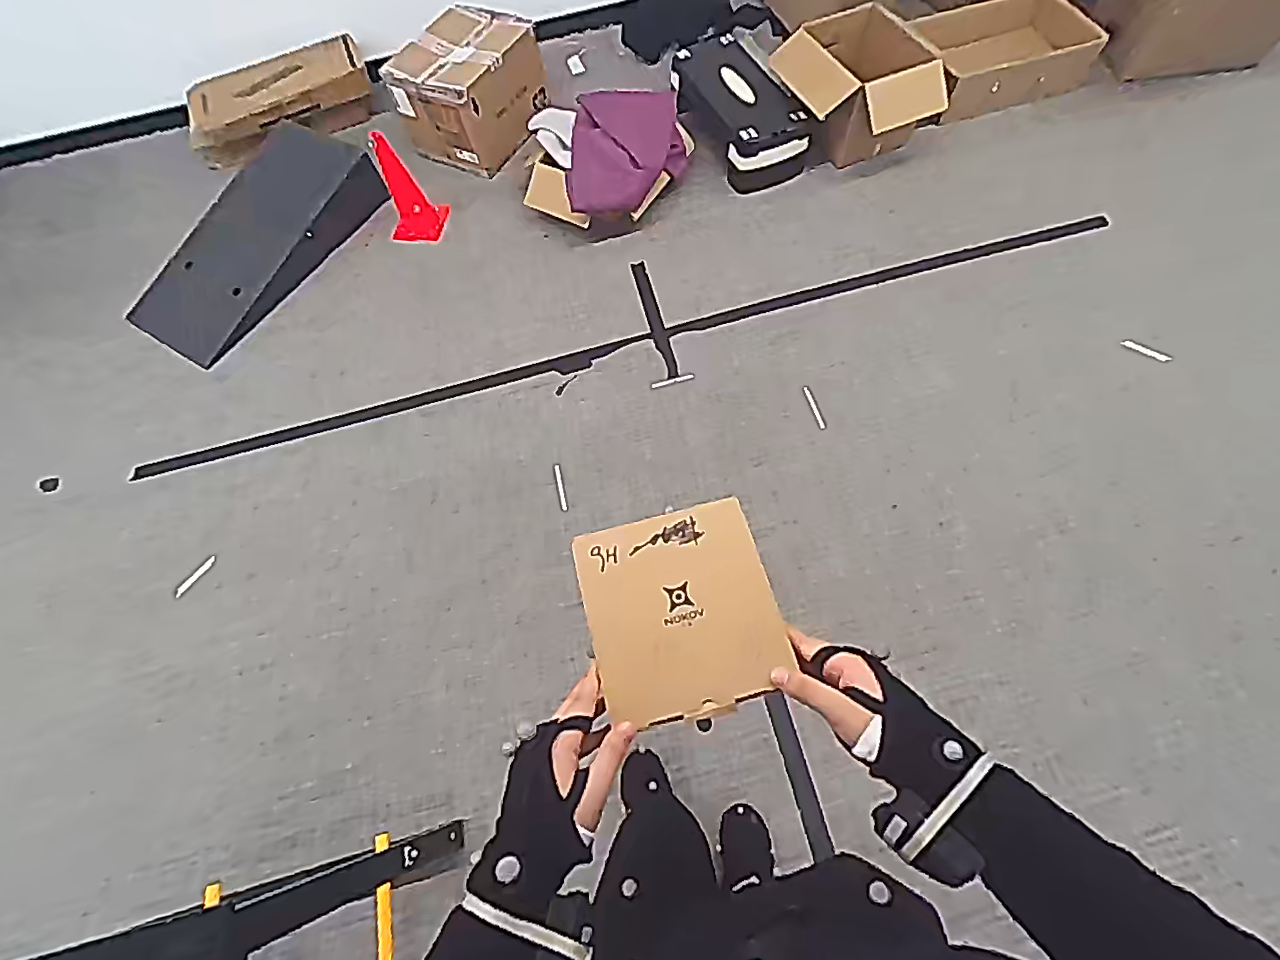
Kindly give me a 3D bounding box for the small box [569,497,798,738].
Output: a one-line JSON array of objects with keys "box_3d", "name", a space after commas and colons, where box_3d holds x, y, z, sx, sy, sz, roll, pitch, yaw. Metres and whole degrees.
[{"box_3d": [0.036, 0.140, 0.543, 0.168, 0.176, 0.179, -14, 68, -4], "name": "small box"}]
